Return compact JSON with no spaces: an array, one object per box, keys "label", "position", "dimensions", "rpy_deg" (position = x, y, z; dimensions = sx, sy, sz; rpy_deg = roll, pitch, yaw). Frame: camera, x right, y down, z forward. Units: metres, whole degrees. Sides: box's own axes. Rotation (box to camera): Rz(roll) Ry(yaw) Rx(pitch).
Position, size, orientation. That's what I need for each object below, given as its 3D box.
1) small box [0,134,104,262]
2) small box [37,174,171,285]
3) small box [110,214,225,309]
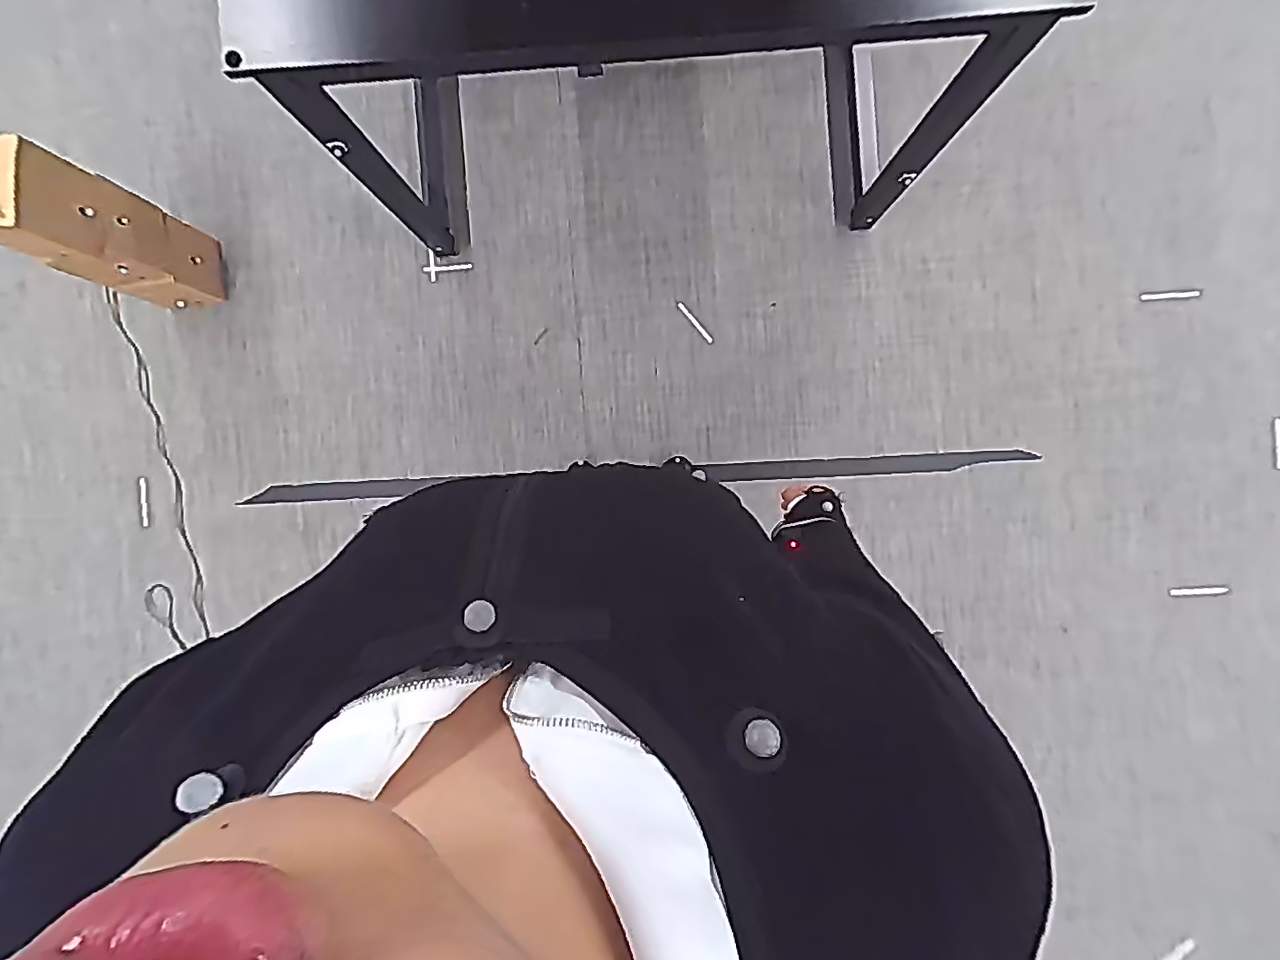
[{"label":"small box","position":[-1.250,-0.567,1.096],"dimensions":[0.168,0.176,0.179],"rpy_deg":[4,90,1]},{"label":"small box","position":[-1.249,-0.571,1.260],"dimensions":[0.168,0.176,0.179],"rpy_deg":[-10,90,0]},{"label":"small box","position":[-1.243,-0.568,1.422],"dimensions":[0.168,0.176,0.179],"rpy_deg":[-7,92,1]}]
